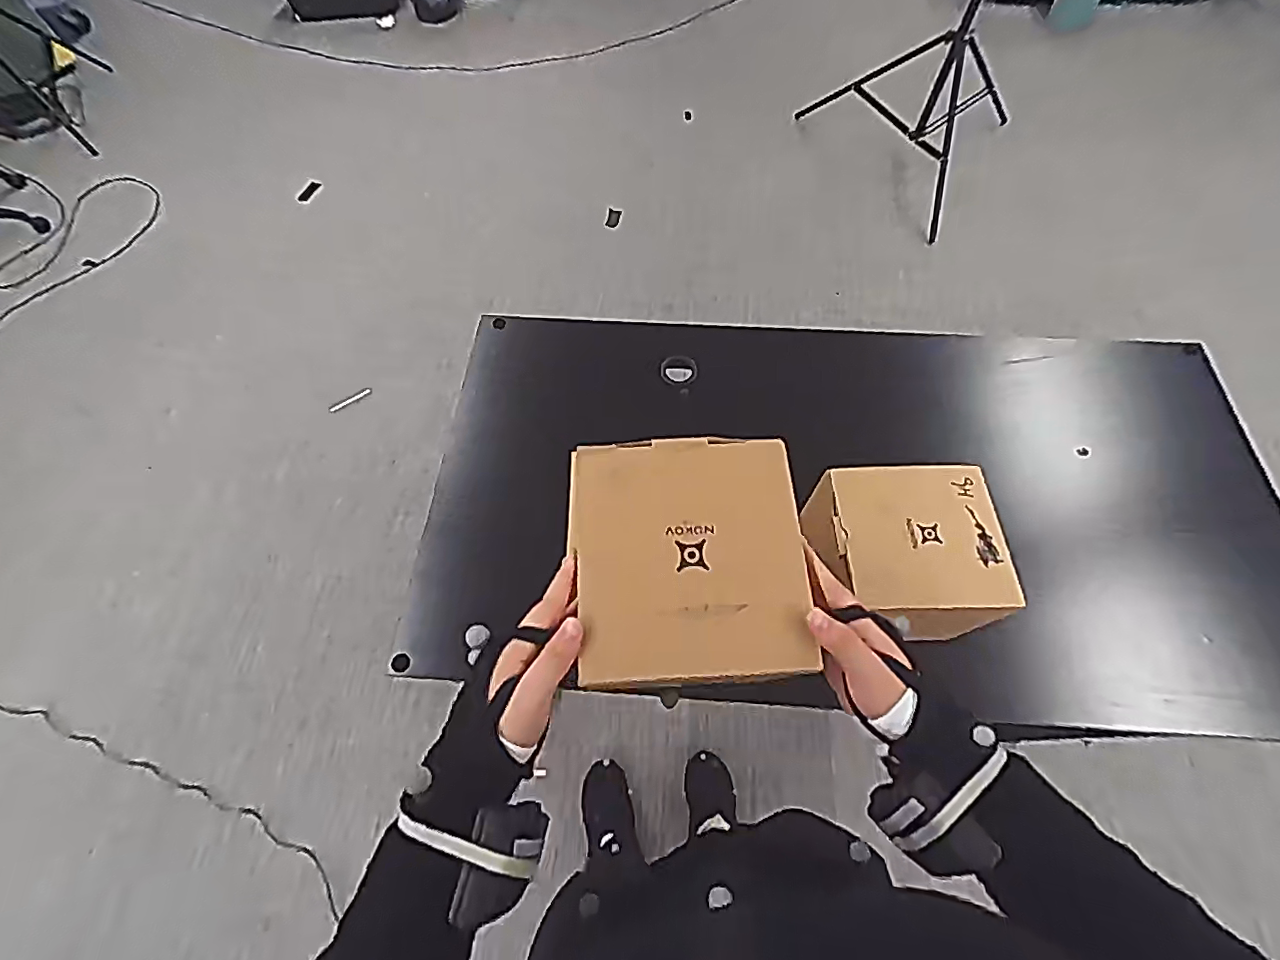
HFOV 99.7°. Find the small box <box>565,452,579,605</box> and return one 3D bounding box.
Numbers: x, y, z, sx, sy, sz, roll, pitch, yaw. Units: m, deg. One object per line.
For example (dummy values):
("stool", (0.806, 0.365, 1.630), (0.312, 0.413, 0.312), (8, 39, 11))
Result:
("small box", (0.009, 0.075, 0.678), (0.179, 0.176, 0.168), (-1, 63, 2))

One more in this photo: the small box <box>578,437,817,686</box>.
("small box", (0.033, 0.079, 0.469), (0.168, 0.176, 0.179), (-2, 68, -3))

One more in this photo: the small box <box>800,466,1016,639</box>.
("small box", (0.302, 0.096, 0.661), (0.179, 0.176, 0.168), (-1, 62, 2))
